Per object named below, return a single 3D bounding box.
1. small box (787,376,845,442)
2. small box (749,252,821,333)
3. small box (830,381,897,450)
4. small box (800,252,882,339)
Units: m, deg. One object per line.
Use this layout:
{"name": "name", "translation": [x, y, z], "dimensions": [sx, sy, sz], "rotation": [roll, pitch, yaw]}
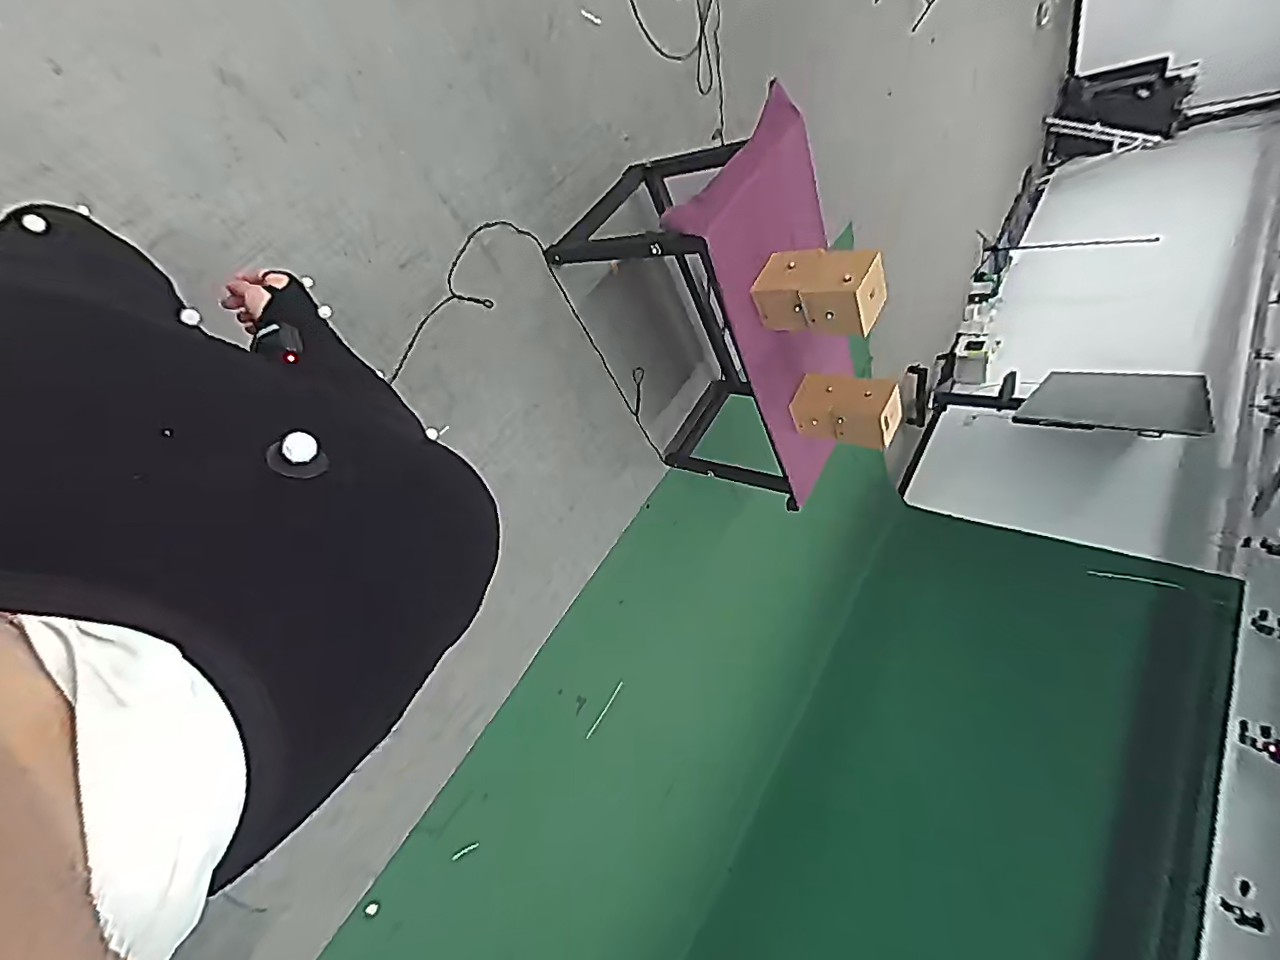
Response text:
{"name": "small box", "translation": [0.661, -0.266, 2.004], "dimensions": [0.179, 0.176, 0.168], "rotation": [-57, 137, -22]}
{"name": "small box", "translation": [0.461, -0.577, 1.671], "dimensions": [0.179, 0.176, 0.168], "rotation": [-59, 137, -19]}
{"name": "small box", "translation": [0.779, -0.229, 1.896], "dimensions": [0.179, 0.176, 0.168], "rotation": [-55, 136, -25]}
{"name": "small box", "translation": [0.576, -0.529, 1.560], "dimensions": [0.179, 0.176, 0.168], "rotation": [-58, 138, -19]}
